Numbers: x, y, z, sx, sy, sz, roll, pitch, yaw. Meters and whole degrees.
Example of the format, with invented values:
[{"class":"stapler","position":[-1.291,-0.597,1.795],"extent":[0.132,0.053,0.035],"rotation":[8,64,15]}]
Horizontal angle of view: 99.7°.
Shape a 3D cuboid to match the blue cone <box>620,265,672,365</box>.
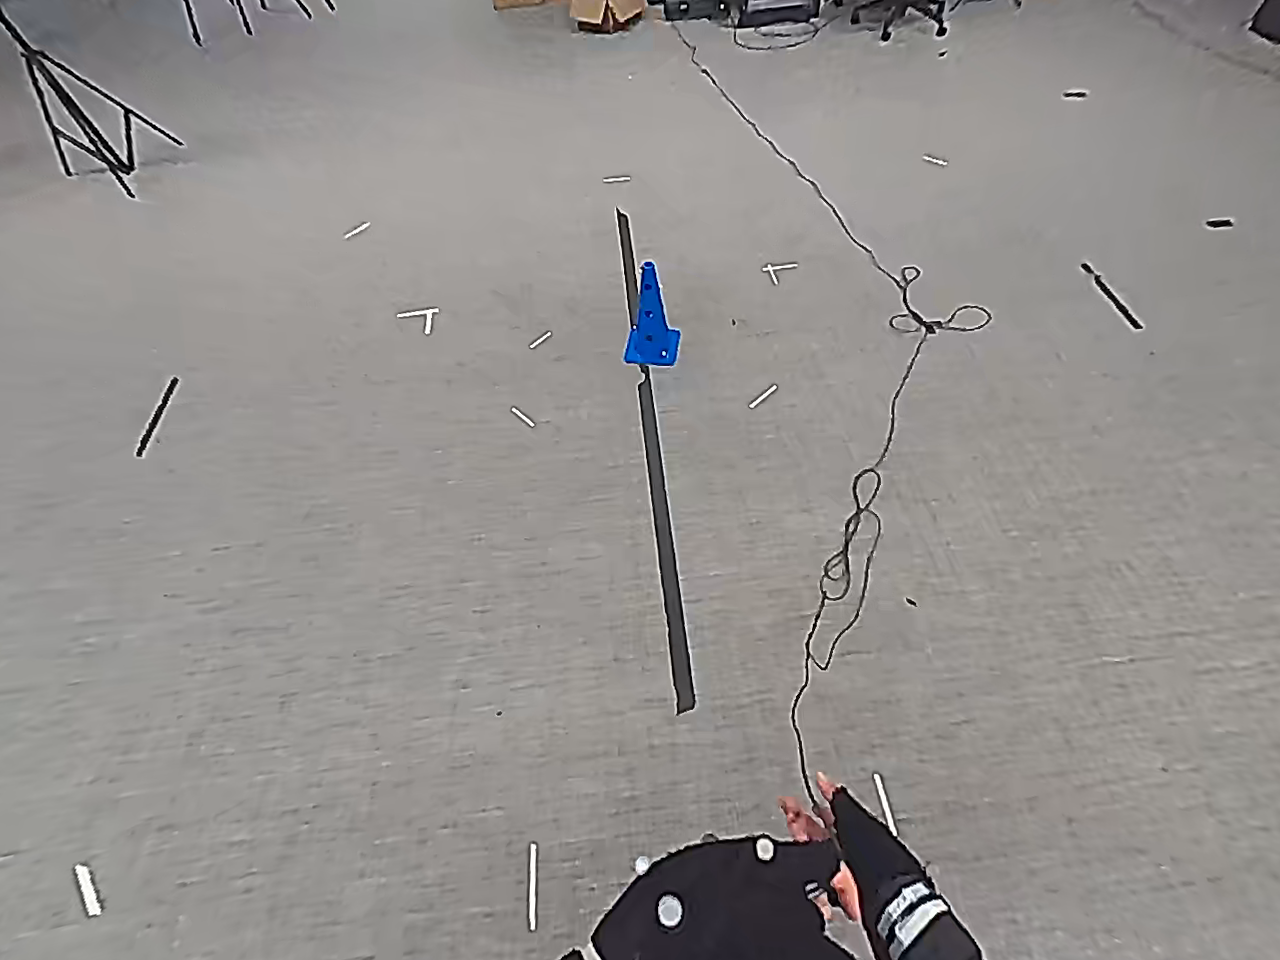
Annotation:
[{"class":"blue cone","position":[0.012,-0.605,1.964],"extent":[0.192,0.380,0.193],"rotation":[6,56,9]}]
